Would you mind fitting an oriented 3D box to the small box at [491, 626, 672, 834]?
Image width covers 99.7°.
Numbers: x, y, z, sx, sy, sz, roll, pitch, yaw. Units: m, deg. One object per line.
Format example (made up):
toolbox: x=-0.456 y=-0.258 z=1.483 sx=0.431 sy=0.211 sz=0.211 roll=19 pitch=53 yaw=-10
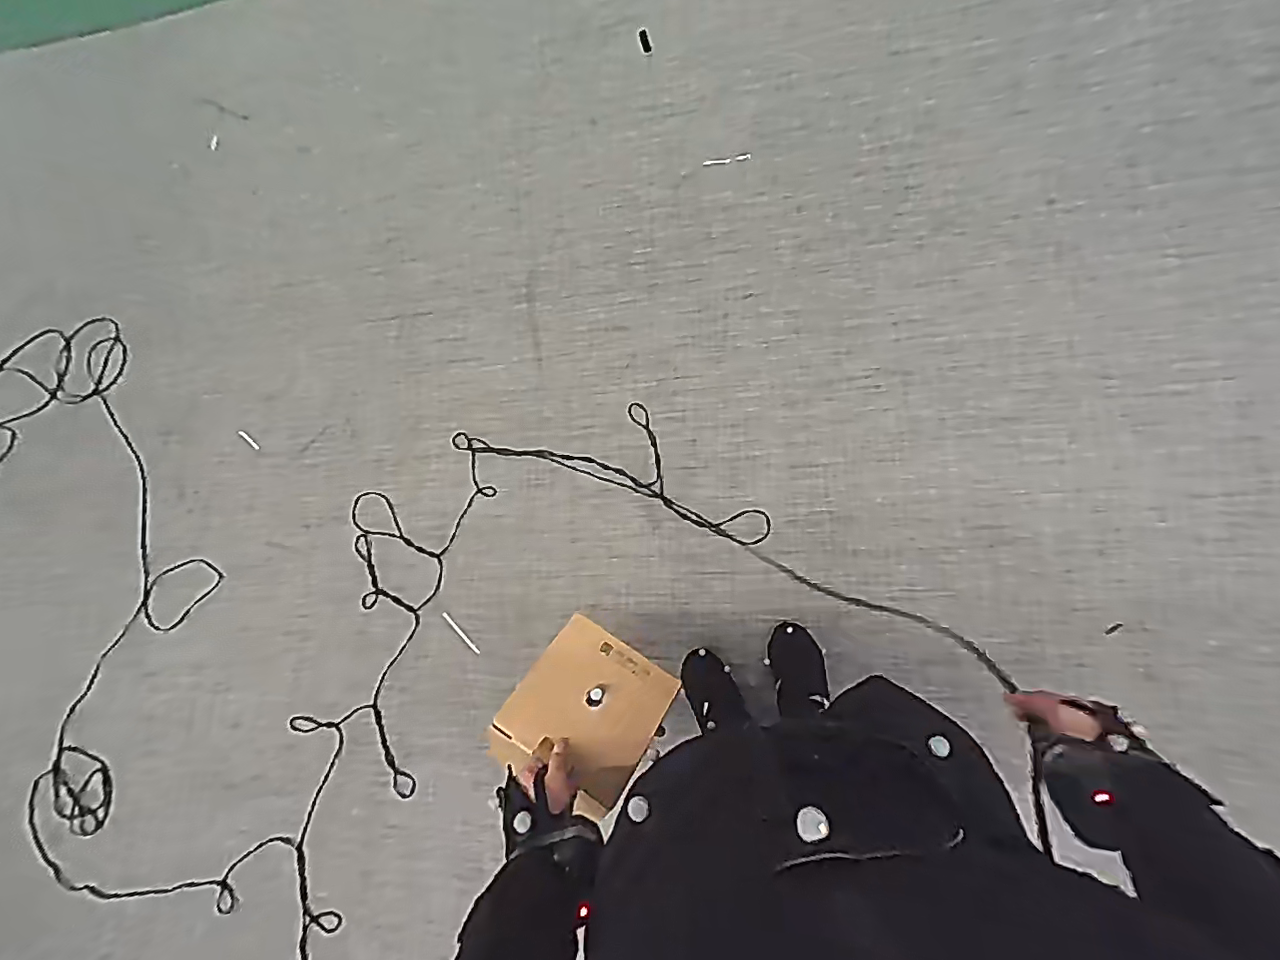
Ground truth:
small box: x=-0.075 y=0.322 z=0.706 sx=0.168 sy=0.179 sz=0.176 roll=30 pitch=51 yaw=10
